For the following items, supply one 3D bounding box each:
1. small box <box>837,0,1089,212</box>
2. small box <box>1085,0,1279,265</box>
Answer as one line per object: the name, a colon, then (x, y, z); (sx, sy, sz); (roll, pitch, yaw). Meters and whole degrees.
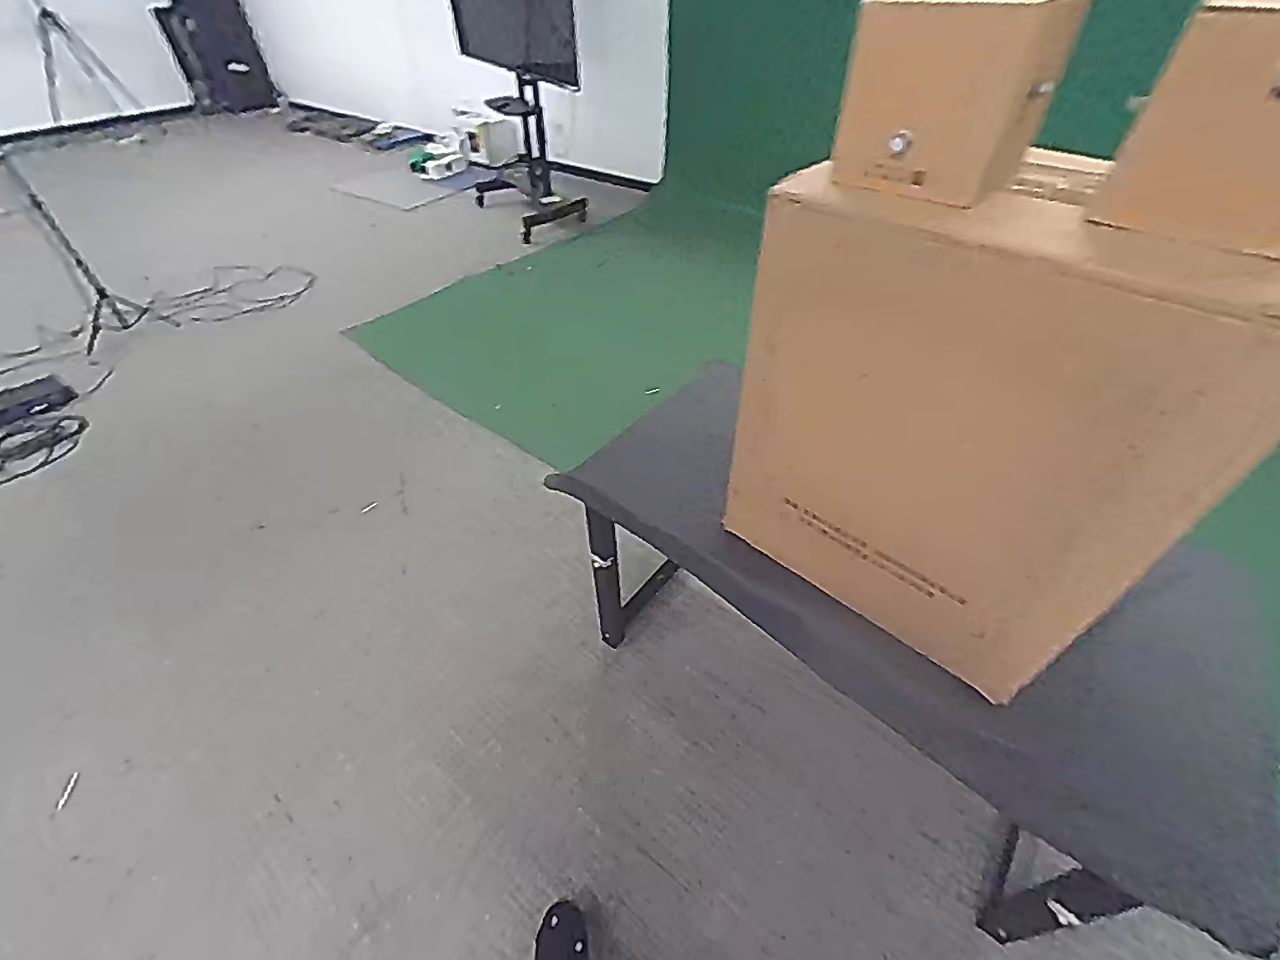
small box: (0.344, -0.425, 0.604); (0.168, 0.176, 0.179); (32, 56, 30)
small box: (0.558, -0.317, 0.488); (0.179, 0.176, 0.168); (33, 57, 27)
